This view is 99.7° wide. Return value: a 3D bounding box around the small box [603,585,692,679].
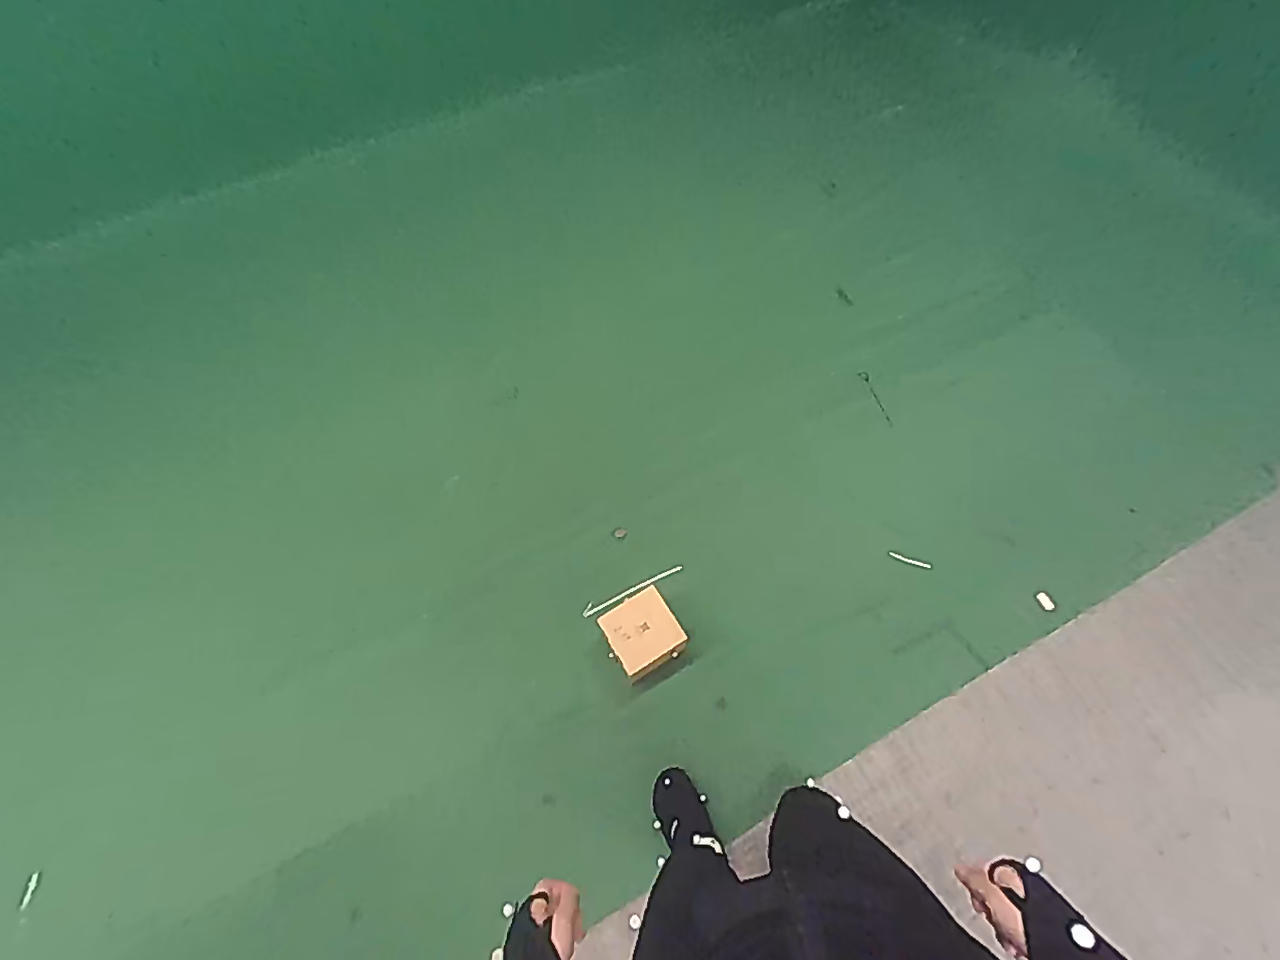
[{"bbox_3d":[0.019,0.409,1.440,0.179,0.176,0.168,-30,67,-12],"label":"small box"}]
